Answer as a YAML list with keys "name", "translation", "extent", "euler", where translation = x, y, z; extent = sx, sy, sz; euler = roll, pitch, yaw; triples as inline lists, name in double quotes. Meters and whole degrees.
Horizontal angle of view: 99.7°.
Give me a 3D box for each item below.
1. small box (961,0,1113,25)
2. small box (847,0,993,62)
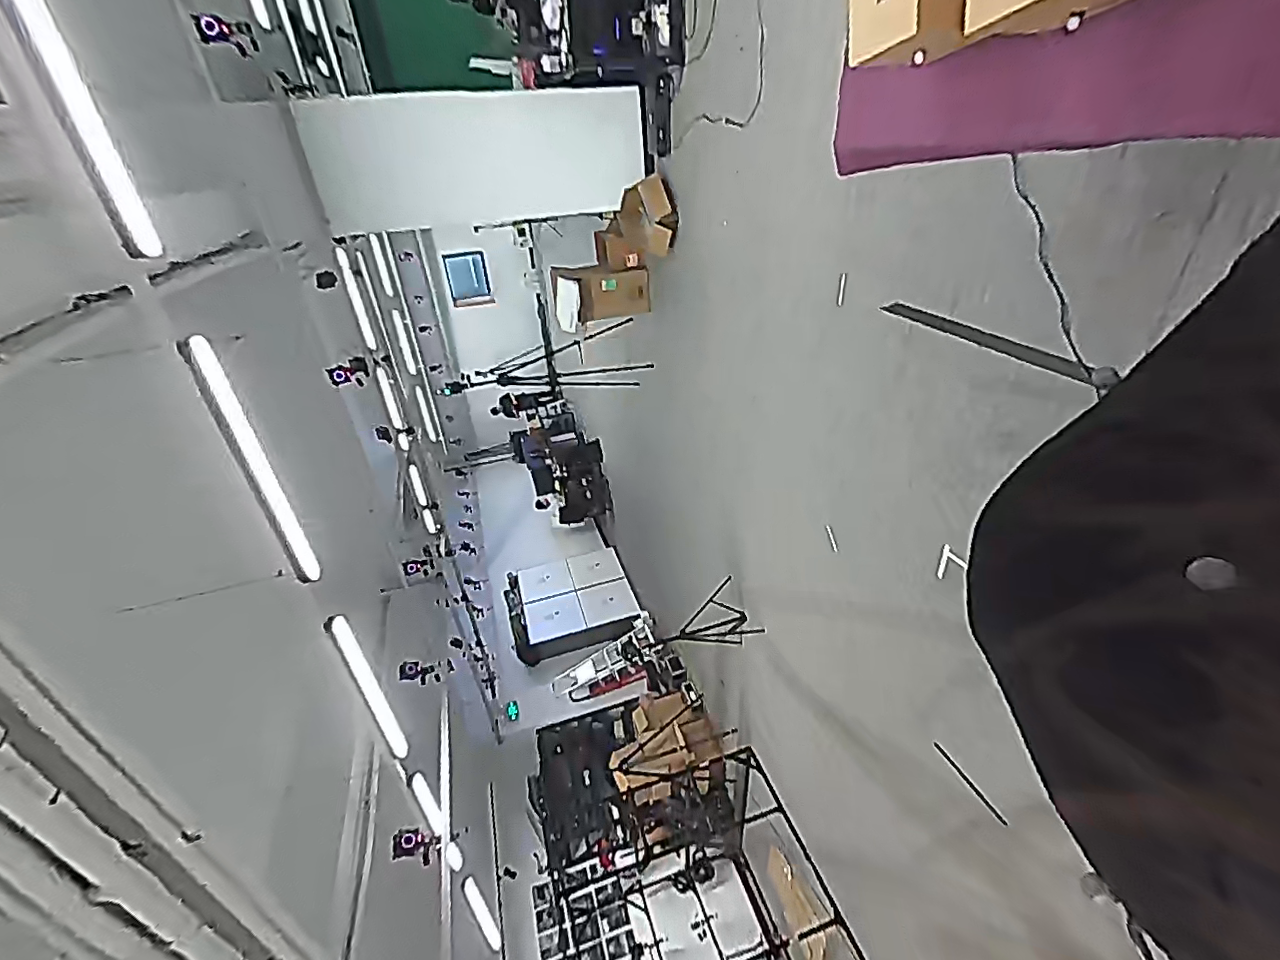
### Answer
- name: "small box"
  translation: [0.544, -0.704, 0.673]
  extent: [0.168, 0.176, 0.179]
  euler: [-130, 30, -63]
- name: "small box"
  translation: [0.464, -0.819, 0.884]
  extent: [0.168, 0.176, 0.179]
  euler: [-131, 31, -62]
